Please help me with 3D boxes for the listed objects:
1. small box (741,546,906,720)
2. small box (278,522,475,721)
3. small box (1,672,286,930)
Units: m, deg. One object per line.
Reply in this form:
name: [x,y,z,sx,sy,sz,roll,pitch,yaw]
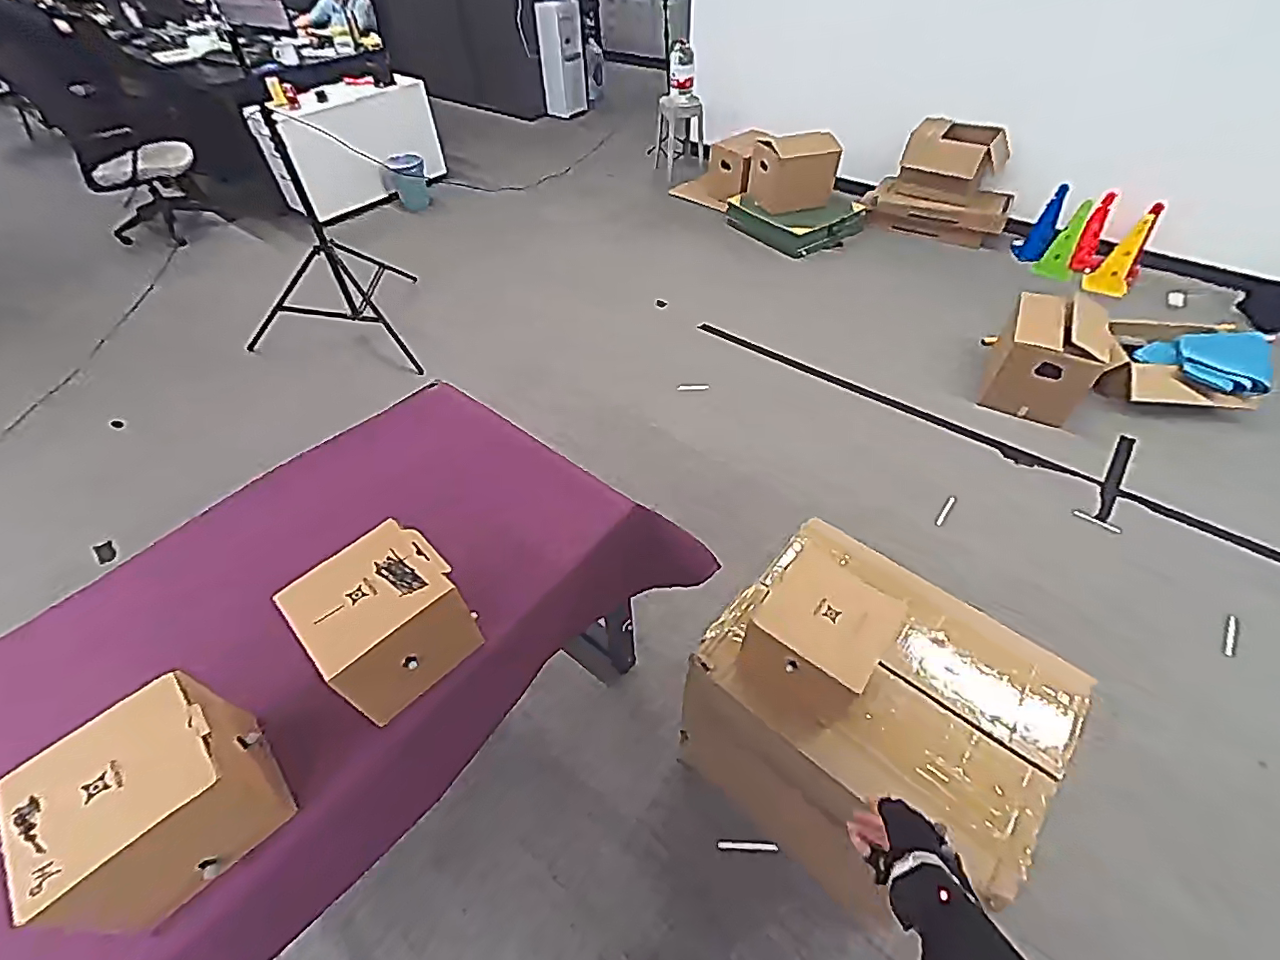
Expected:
small box: [0.276,0.244,0.850,0.179,0.176,0.168,31,59,24]
small box: [-0.355,0.200,0.766,0.168,0.176,0.179,35,59,29]
small box: [-0.548,0.366,0.623,0.179,0.176,0.168,-36,56,-28]
